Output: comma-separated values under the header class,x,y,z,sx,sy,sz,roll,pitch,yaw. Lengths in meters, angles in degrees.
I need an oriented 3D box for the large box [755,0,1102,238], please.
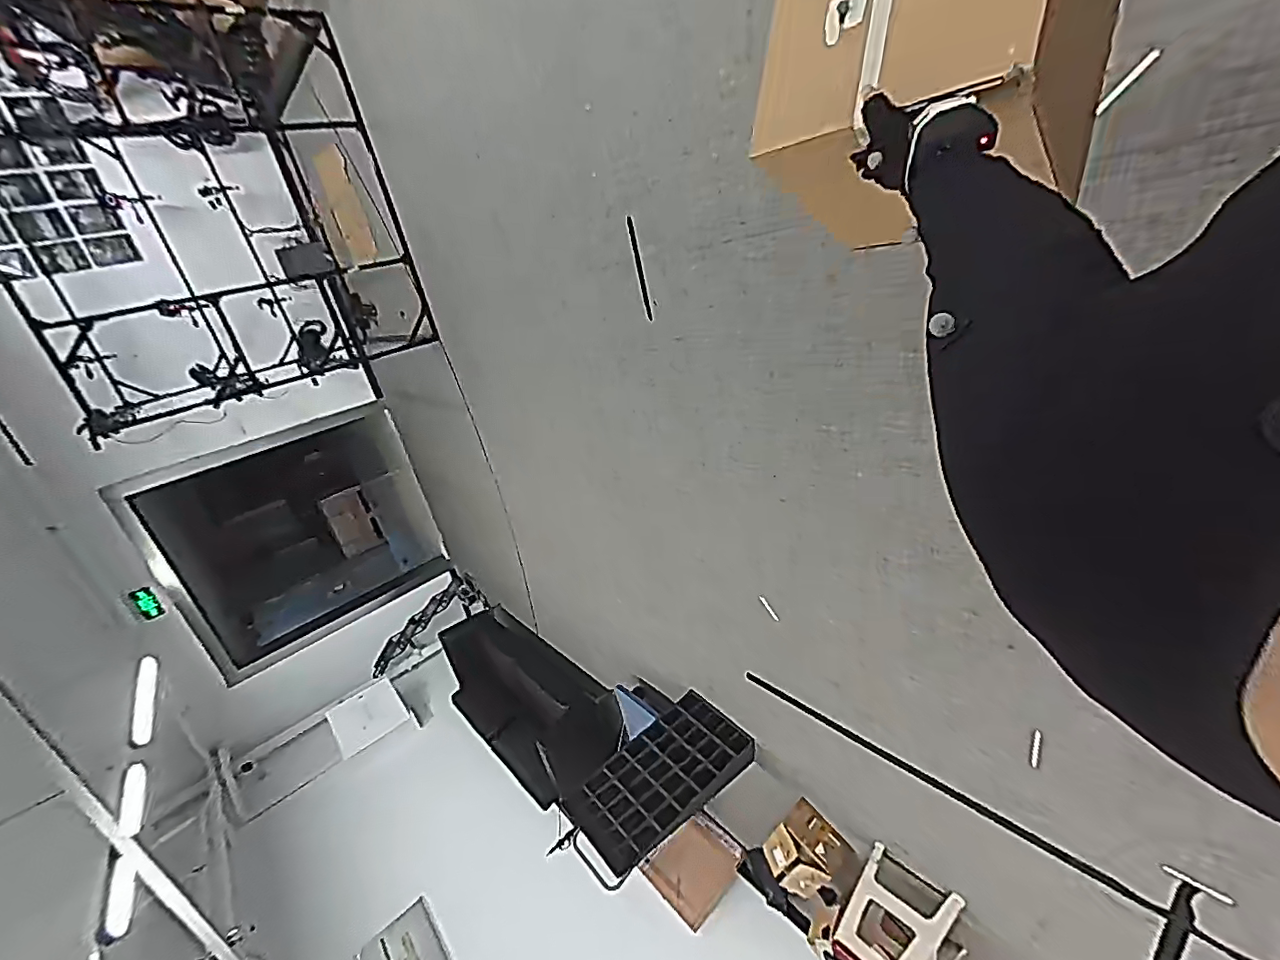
class,x,y,z,sx,sy,sz,roll,pitch,yaw
large box,0.390,-0.596,0.713,0.320,0.320,0.408,13,96,46
